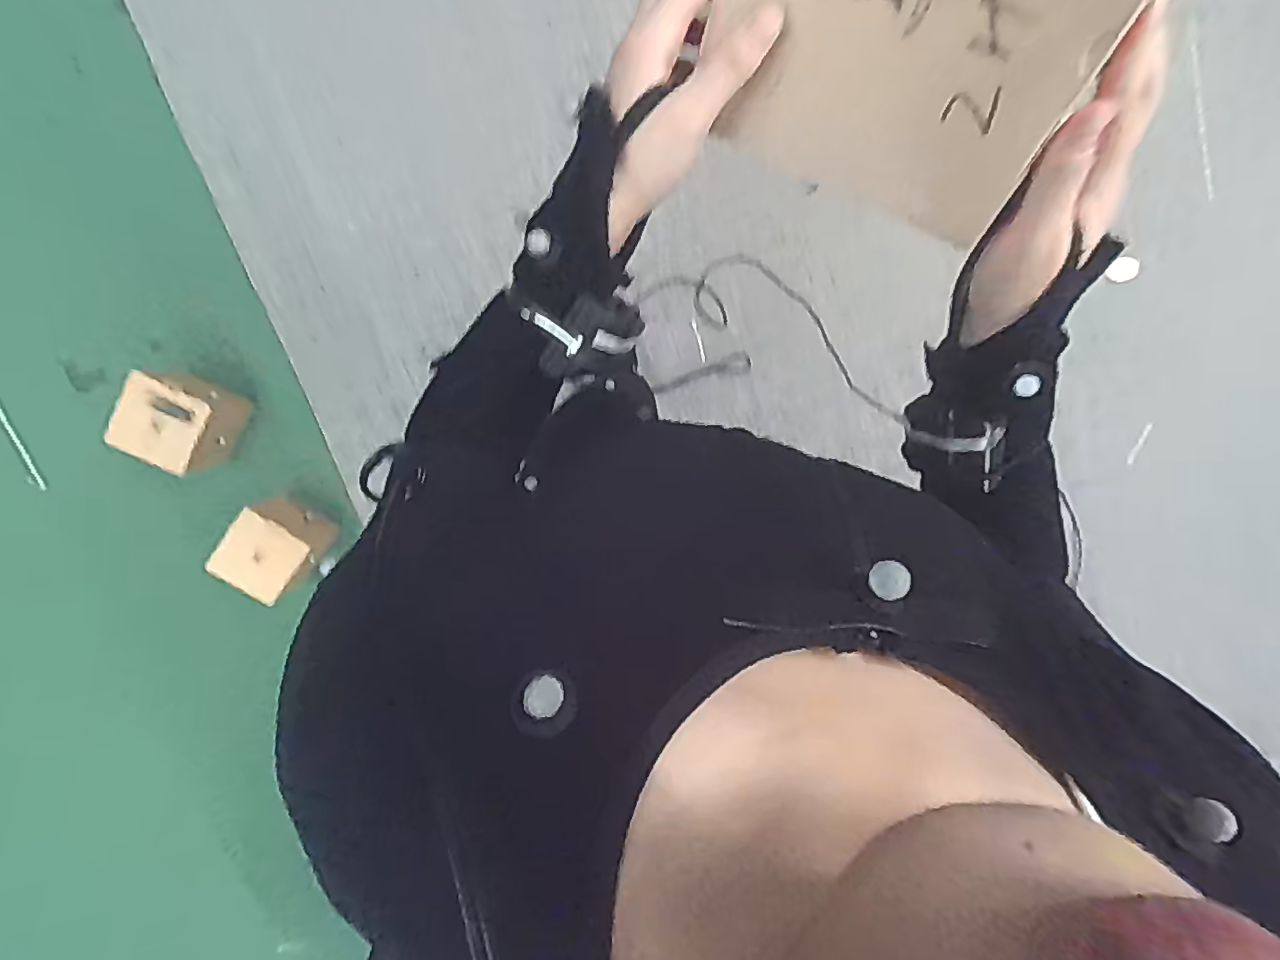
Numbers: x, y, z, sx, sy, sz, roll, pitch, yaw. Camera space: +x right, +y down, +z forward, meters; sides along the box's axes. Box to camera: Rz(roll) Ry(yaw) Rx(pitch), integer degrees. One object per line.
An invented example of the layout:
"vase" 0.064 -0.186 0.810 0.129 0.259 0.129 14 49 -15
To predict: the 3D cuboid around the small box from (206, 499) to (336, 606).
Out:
"small box" -0.881 0.169 1.313 0.168 0.176 0.179 35 93 -11
